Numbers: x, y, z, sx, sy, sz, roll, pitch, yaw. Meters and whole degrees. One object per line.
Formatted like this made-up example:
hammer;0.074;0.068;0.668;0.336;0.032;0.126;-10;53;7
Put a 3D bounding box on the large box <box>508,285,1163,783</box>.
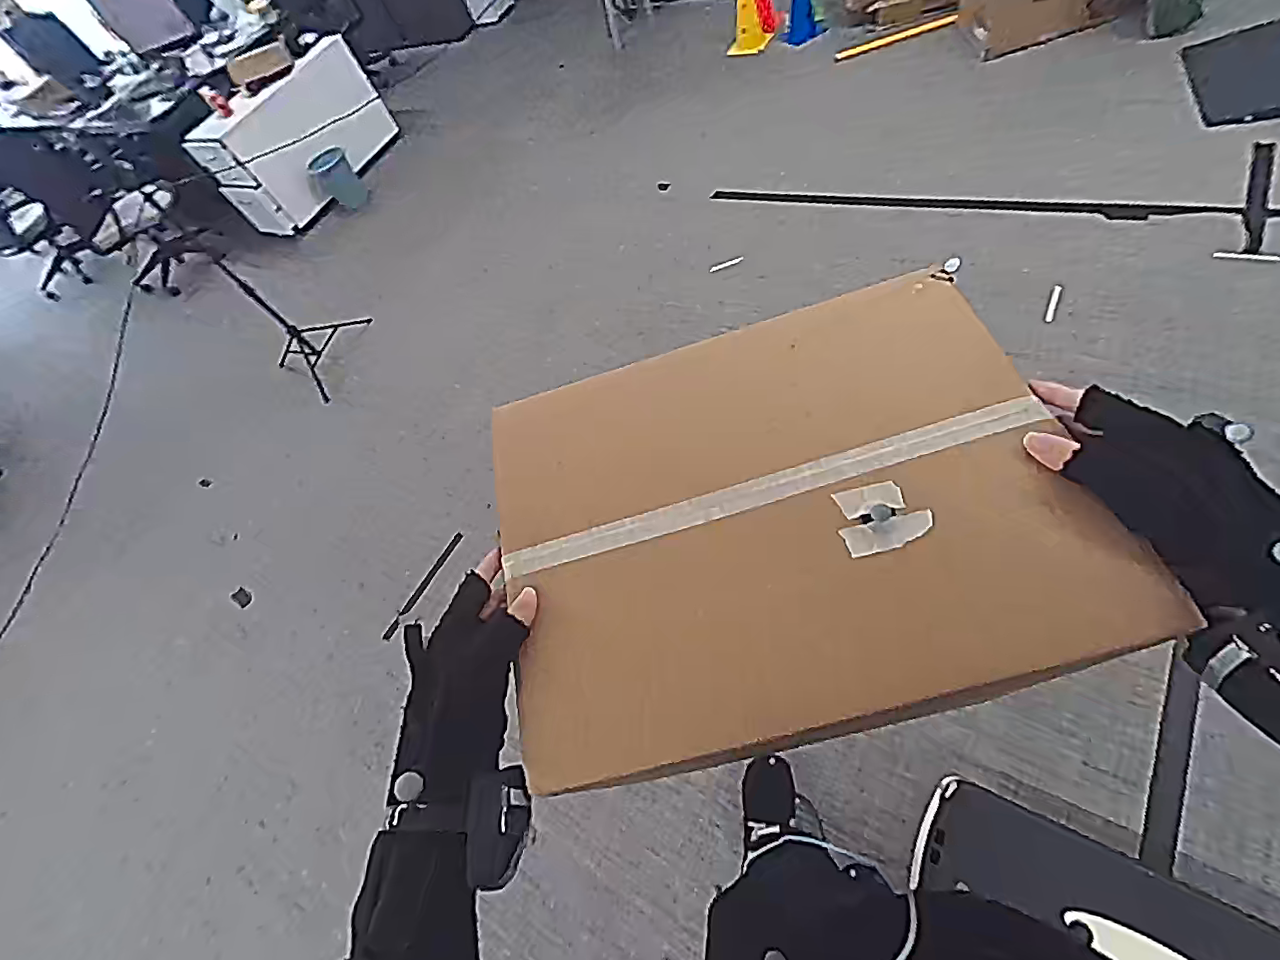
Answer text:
large box;0.126;0.083;0.540;0.408;0.320;0.320;-17;60;5
